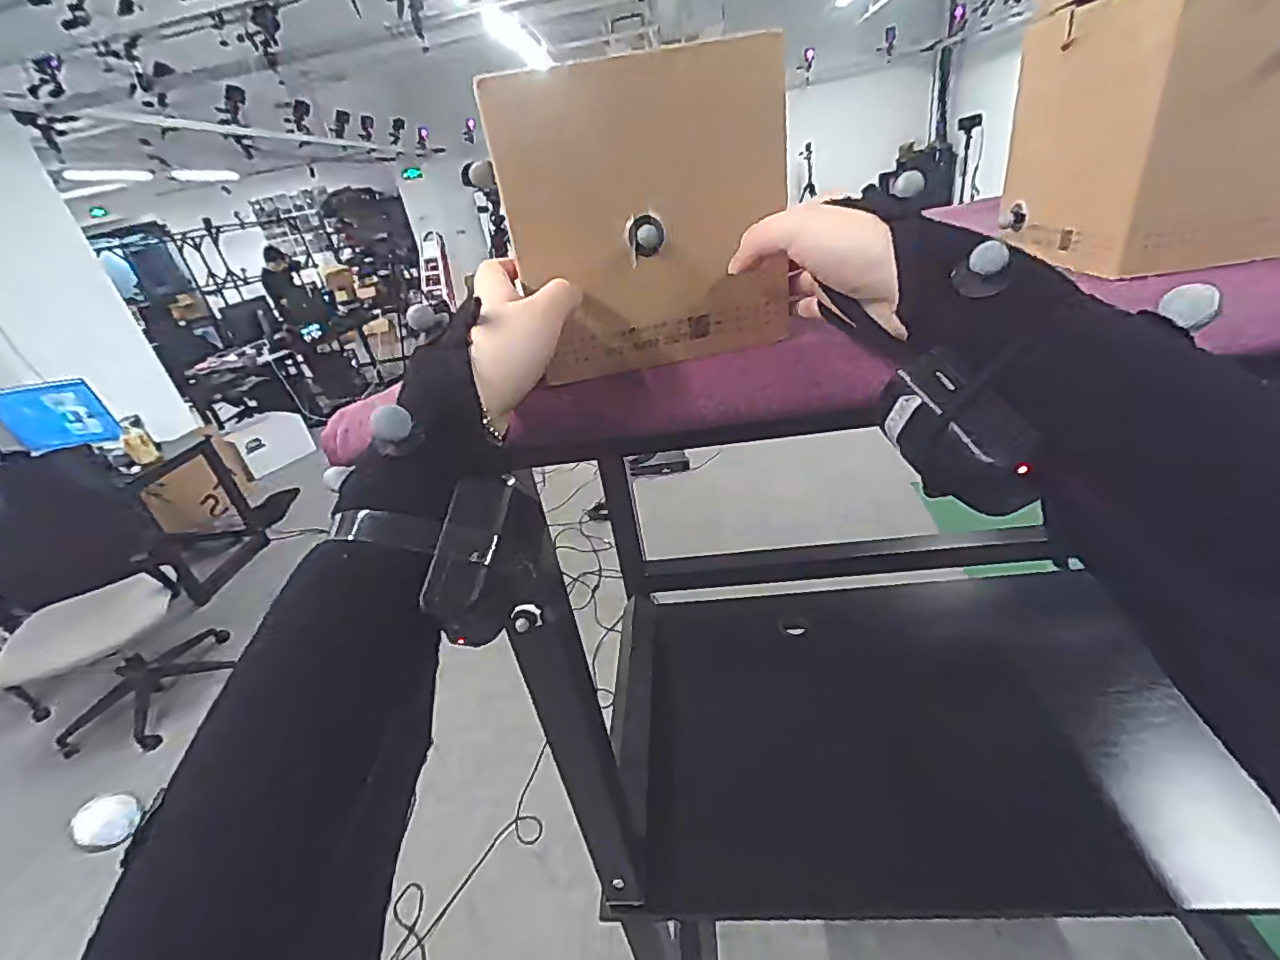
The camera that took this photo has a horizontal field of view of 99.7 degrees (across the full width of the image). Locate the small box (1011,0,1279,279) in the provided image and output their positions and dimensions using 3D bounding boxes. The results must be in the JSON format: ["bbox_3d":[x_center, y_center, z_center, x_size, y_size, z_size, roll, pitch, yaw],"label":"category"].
[{"bbox_3d":[0.390,-0.245,0.373,0.179,0.176,0.168,-5,29,8],"label":"small box"}]

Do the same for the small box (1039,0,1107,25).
[{"bbox_3d":[0.359,-0.385,0.297,0.179,0.176,0.168,-2,29,18],"label":"small box"}]

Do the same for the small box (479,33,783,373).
[{"bbox_3d":[-0.003,-0.184,0.389,0.168,0.176,0.179,-11,29,-4],"label":"small box"}]
